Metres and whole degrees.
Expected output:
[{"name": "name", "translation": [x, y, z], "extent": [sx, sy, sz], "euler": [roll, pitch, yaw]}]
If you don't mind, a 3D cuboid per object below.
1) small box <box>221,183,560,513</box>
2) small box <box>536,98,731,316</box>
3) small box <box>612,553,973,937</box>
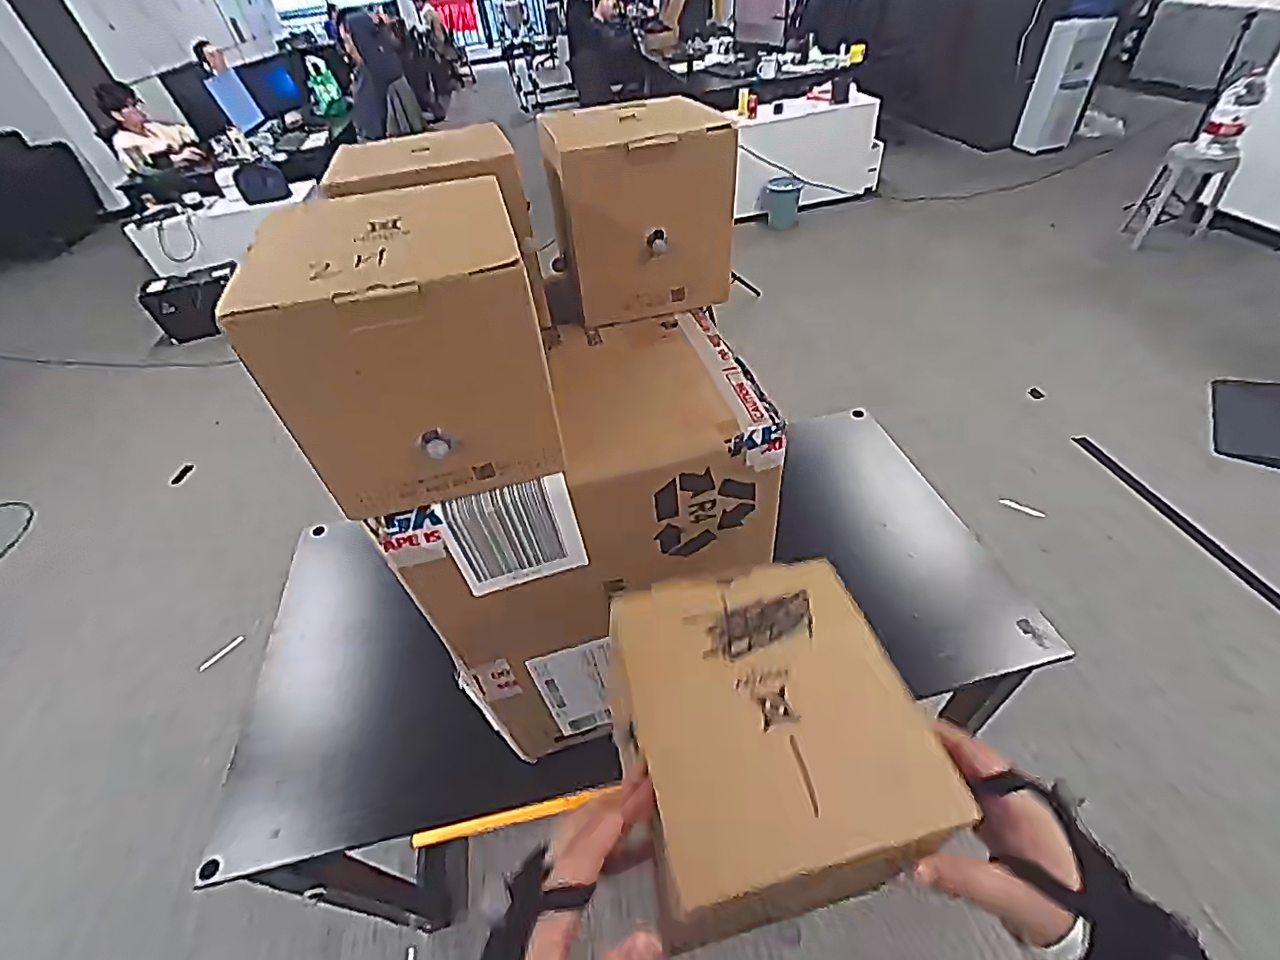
[{"name": "small box", "translation": [-0.166, -0.104, 0.417], "extent": [0.168, 0.176, 0.179], "euler": [-14, 46, -8]}, {"name": "small box", "translation": [-0.009, -0.292, 0.591], "extent": [0.168, 0.176, 0.179], "euler": [-12, 45, -8]}, {"name": "small box", "translation": [0.073, 0.180, 0.380], "extent": [0.168, 0.176, 0.179], "euler": [-8, 44, -11]}]
